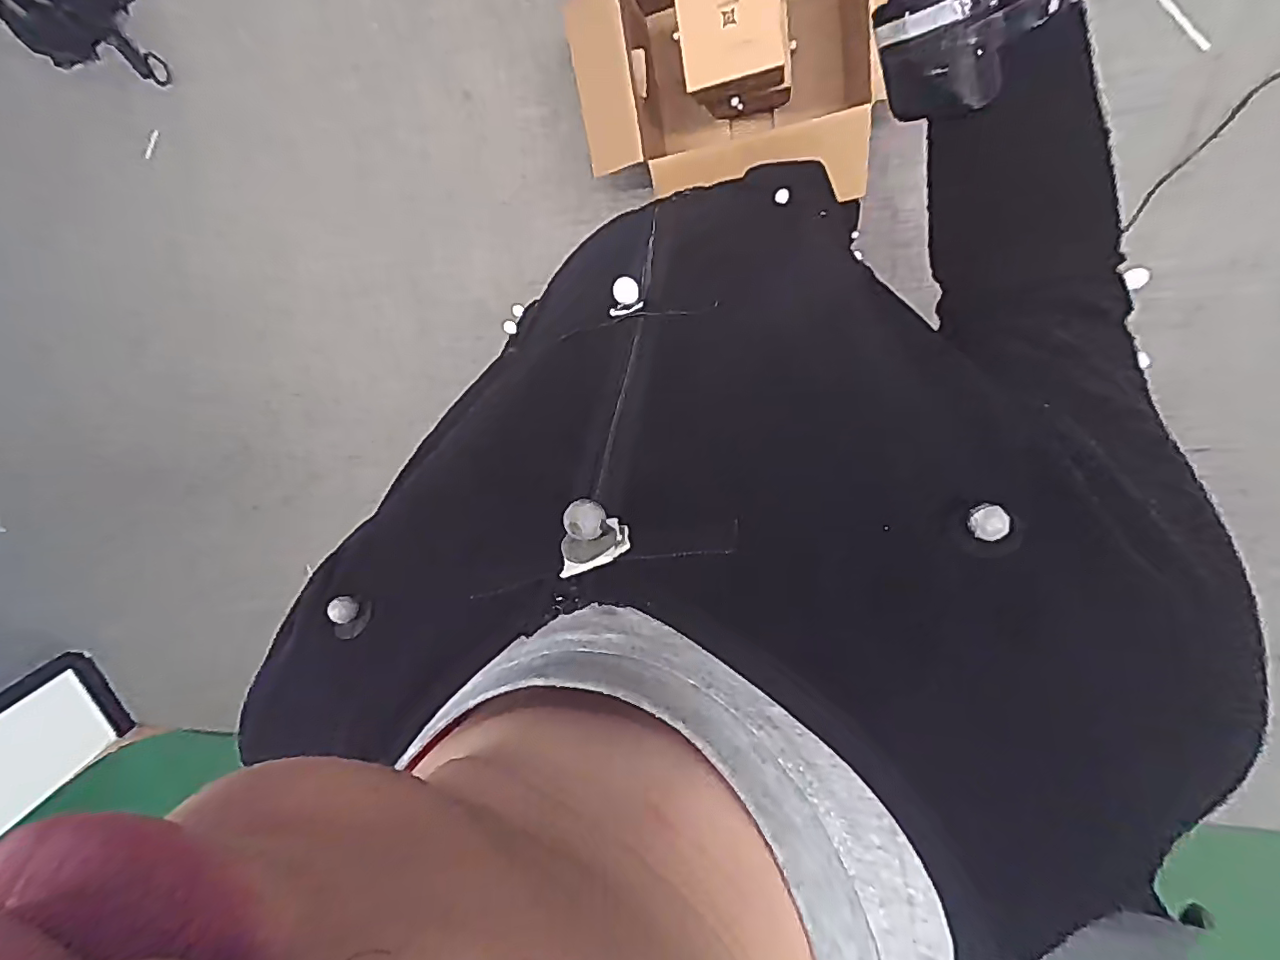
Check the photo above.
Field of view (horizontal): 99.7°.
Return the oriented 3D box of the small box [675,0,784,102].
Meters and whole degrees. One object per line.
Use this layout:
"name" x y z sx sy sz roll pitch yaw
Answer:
"small box" 0.156 -0.786 0.933 0.168 0.176 0.179 -4 116 17
